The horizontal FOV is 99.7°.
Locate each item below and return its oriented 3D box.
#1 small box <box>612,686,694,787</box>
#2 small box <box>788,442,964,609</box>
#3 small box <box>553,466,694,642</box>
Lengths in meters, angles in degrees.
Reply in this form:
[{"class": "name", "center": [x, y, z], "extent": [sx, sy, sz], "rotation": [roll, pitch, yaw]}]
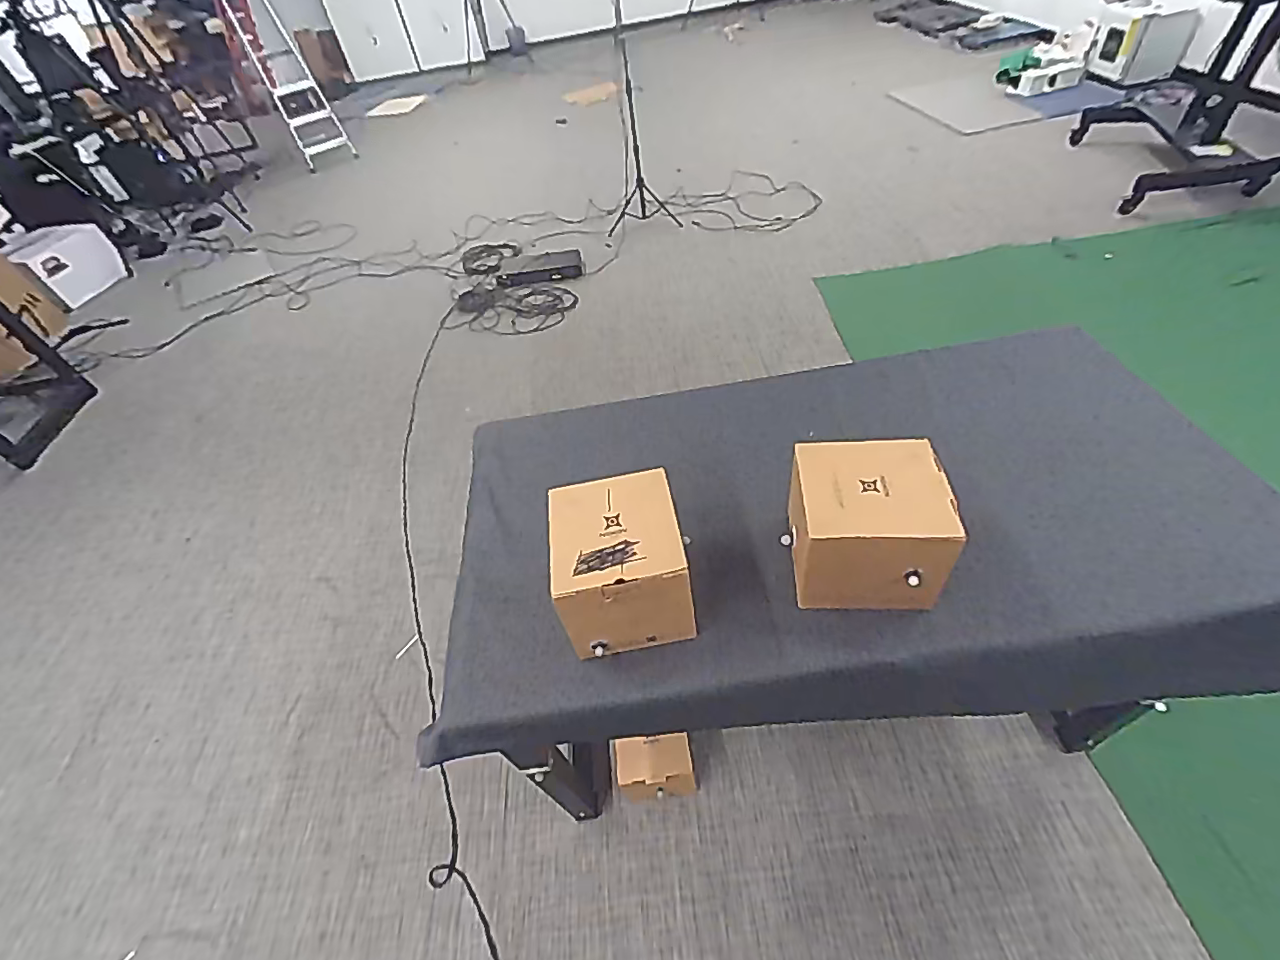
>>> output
[{"class": "small box", "center": [0.032, 0.614, 1.283], "extent": [0.168, 0.176, 0.179], "rotation": [-9, 49, 2]}, {"class": "small box", "center": [0.305, 0.065, 0.743], "extent": [0.179, 0.176, 0.168], "rotation": [-1, 47, 9]}, {"class": "small box", "center": [-0.021, 0.110, 0.753], "extent": [0.168, 0.176, 0.179], "rotation": [-10, 46, 0]}]
